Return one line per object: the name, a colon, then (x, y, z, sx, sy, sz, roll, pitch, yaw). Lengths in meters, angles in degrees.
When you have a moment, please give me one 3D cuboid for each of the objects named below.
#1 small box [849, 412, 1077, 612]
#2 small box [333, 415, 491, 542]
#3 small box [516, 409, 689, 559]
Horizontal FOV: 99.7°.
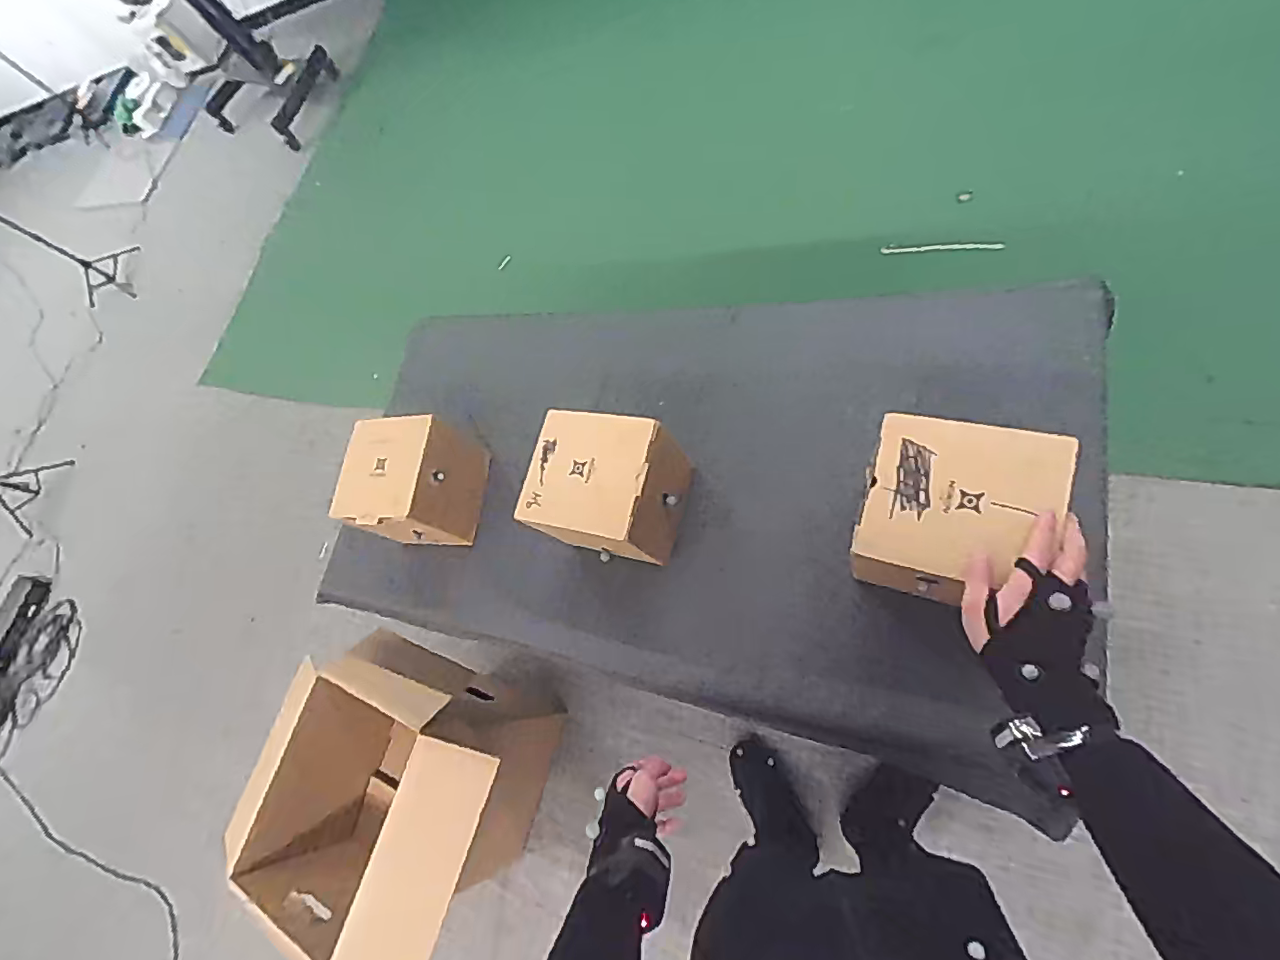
small box: (0.349, 0.042, 0.612, 0.179, 0.176, 0.168, 14, 78, 26)
small box: (-0.382, 0.005, 0.937, 0.168, 0.176, 0.179, -1, 69, 21)
small box: (-0.043, 0.012, 0.790, 0.179, 0.176, 0.168, 9, 75, 25)
